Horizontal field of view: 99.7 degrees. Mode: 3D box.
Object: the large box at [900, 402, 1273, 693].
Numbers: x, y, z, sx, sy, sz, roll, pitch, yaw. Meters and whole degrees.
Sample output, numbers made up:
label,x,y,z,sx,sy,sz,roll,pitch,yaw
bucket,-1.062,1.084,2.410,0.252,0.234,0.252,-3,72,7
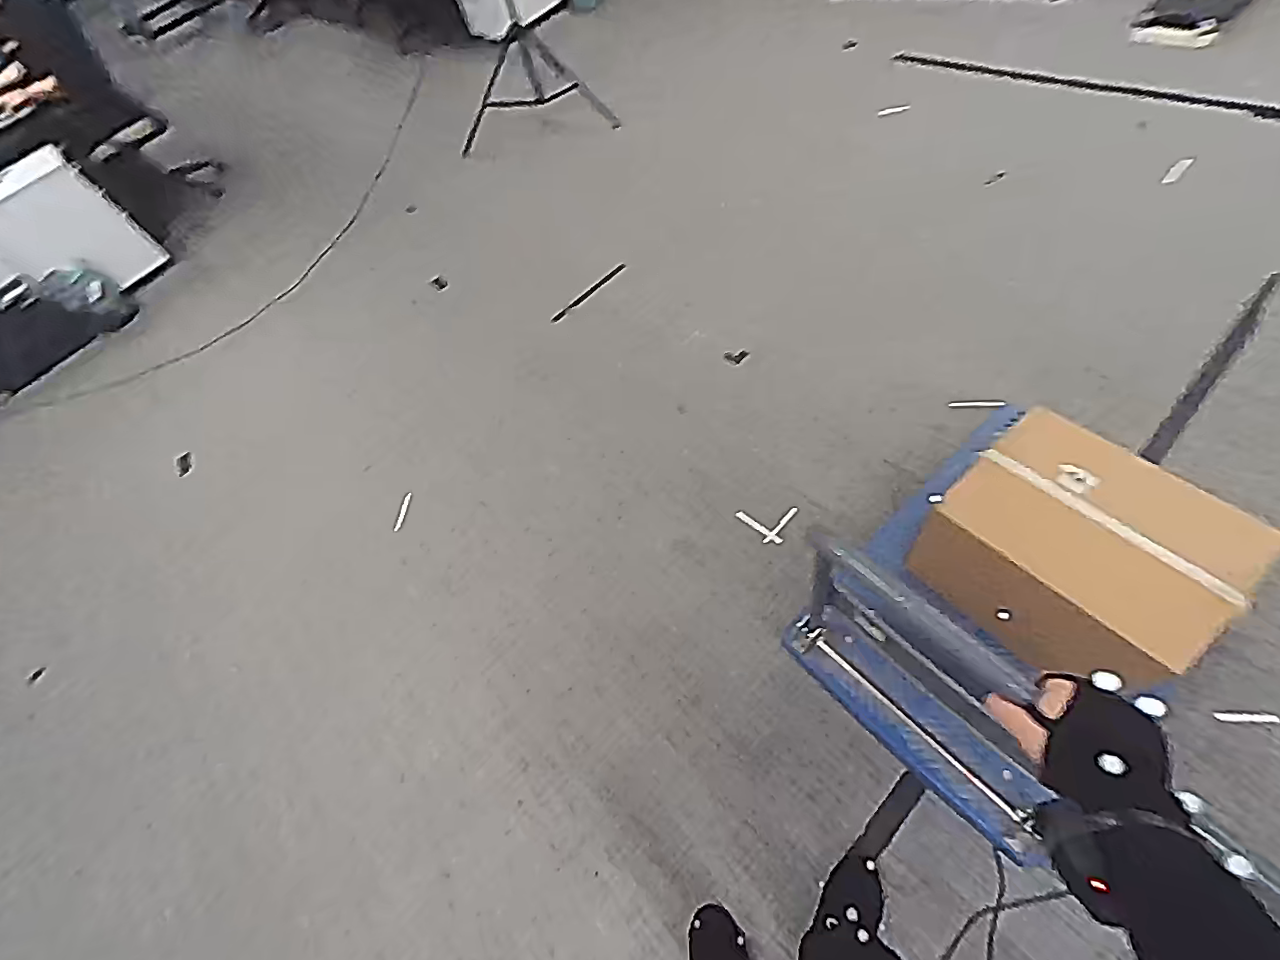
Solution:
label,x,y,z,sx,sy,sz,roll,pitch,yaw
large box,0.793,0.131,1.042,0.320,0.320,0.408,-40,57,-12
